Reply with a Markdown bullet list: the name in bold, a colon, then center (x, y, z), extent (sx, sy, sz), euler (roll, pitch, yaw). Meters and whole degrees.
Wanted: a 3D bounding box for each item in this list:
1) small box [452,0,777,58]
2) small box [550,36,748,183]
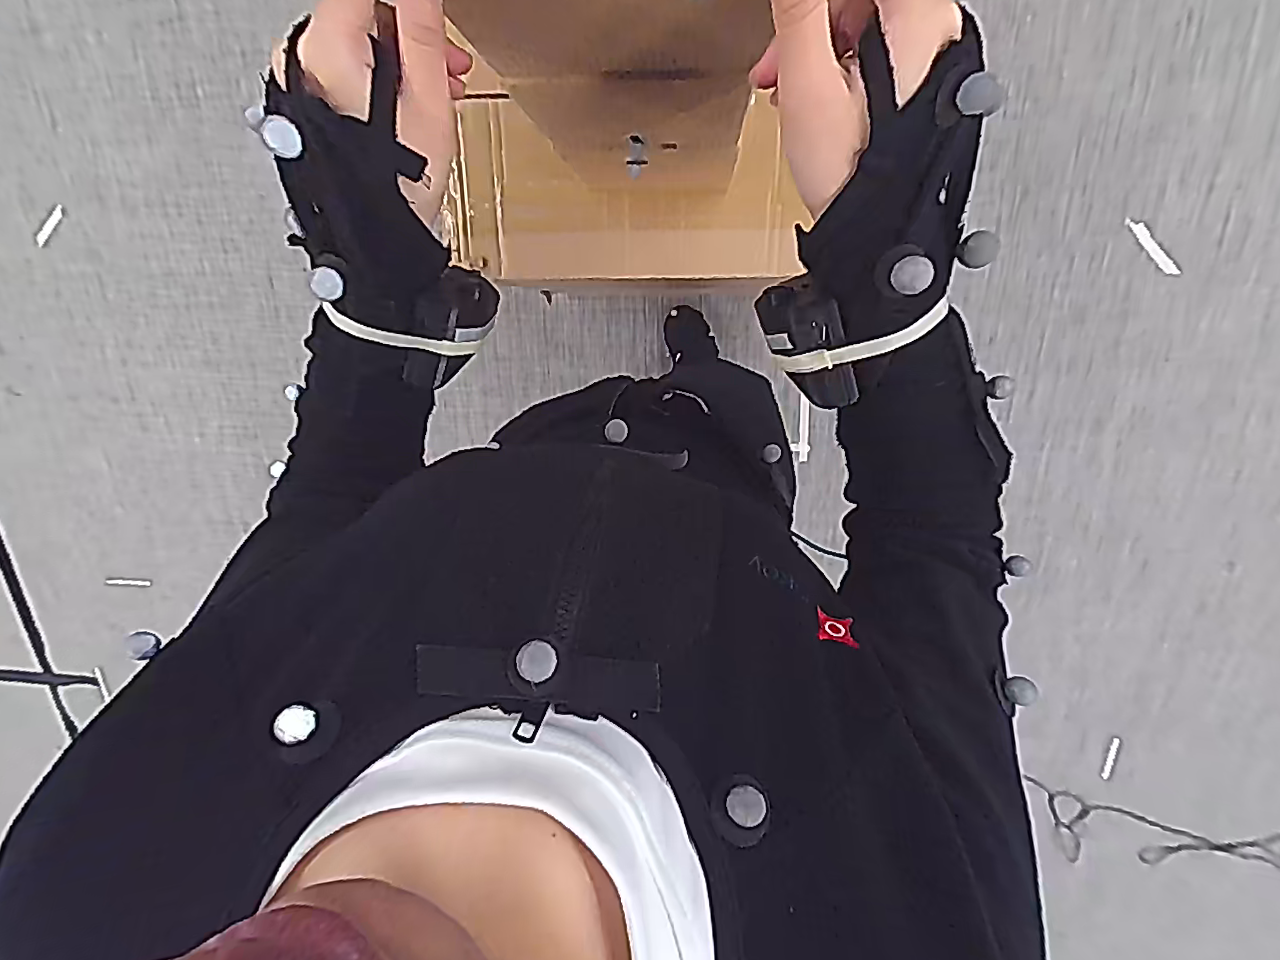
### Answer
- **small box**: center (-0.012, -0.312, 0.230), extent (0.179, 0.176, 0.168), euler (3, 108, 5)
- **small box**: center (0.015, -0.408, 0.545), extent (0.179, 0.176, 0.168), euler (3, 107, 5)
